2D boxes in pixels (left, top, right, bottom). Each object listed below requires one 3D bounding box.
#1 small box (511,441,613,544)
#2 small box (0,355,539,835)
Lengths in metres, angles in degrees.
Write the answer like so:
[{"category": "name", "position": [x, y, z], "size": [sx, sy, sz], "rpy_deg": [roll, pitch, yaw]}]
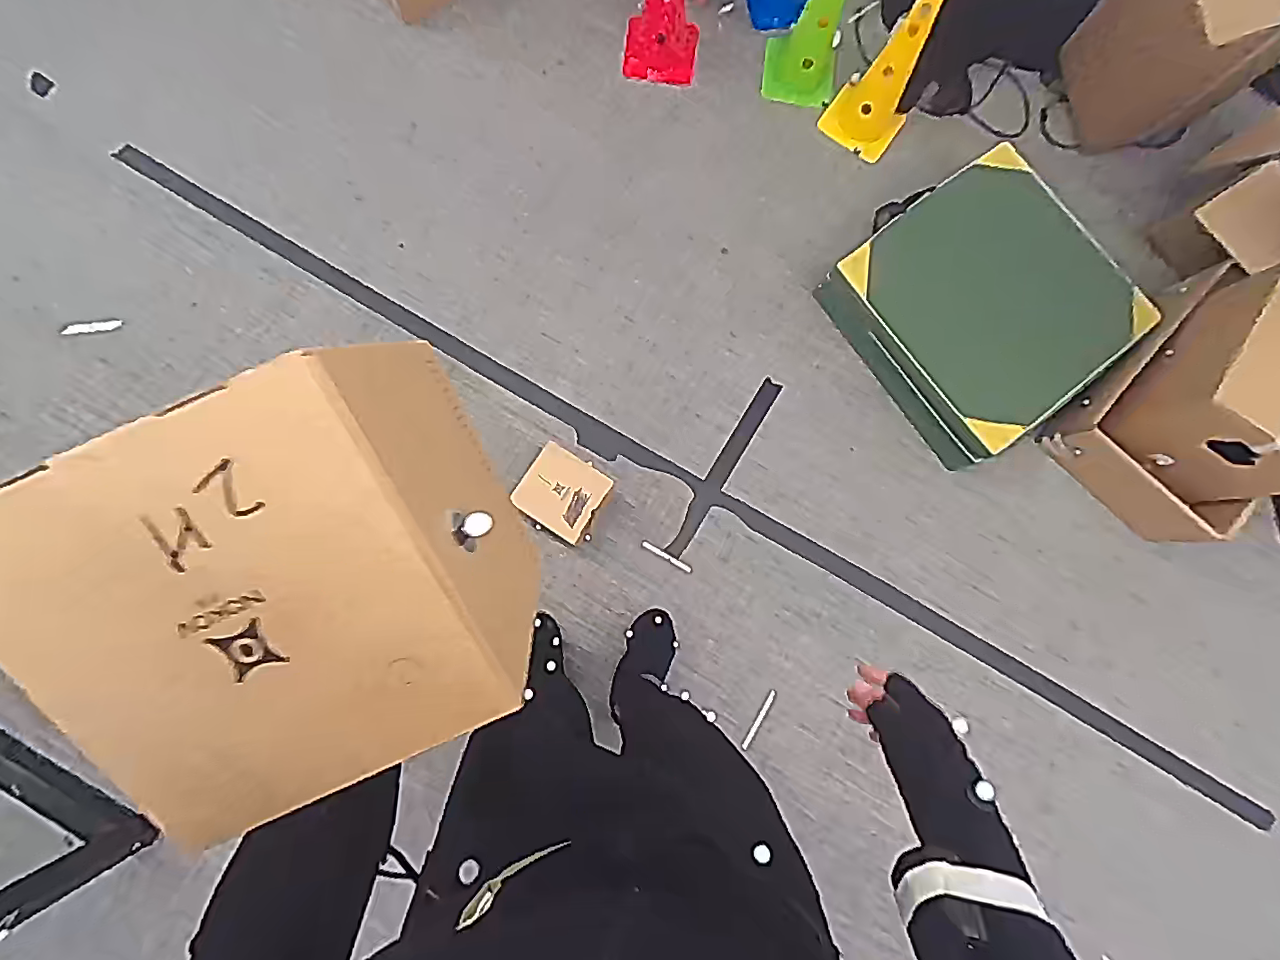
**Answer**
[{"category": "small box", "position": [-0.177, 0.036, 1.262], "size": [0.179, 0.176, 0.168], "rpy_deg": [33, 81, 2]}, {"category": "small box", "position": [-0.166, 0.041, 0.308], "size": [0.168, 0.176, 0.179], "rpy_deg": [-24, 107, -1]}]
